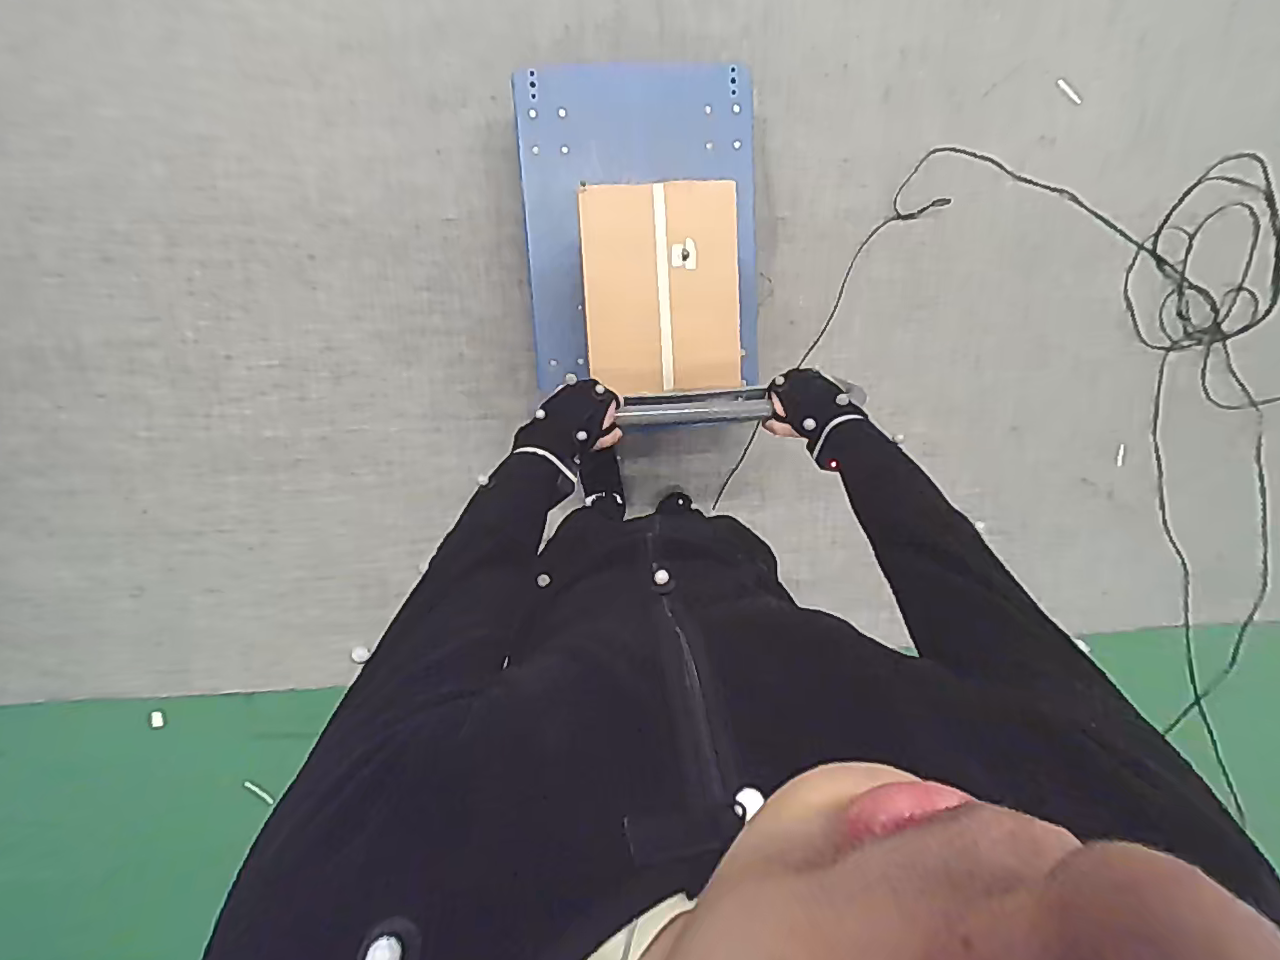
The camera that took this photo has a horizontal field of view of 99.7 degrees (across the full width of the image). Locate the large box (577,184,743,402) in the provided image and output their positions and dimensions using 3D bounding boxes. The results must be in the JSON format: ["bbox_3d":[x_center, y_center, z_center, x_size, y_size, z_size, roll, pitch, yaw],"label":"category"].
[{"bbox_3d":[0.036,-0.391,1.225,0.320,0.320,0.408,-4,98,-4],"label":"large box"}]
